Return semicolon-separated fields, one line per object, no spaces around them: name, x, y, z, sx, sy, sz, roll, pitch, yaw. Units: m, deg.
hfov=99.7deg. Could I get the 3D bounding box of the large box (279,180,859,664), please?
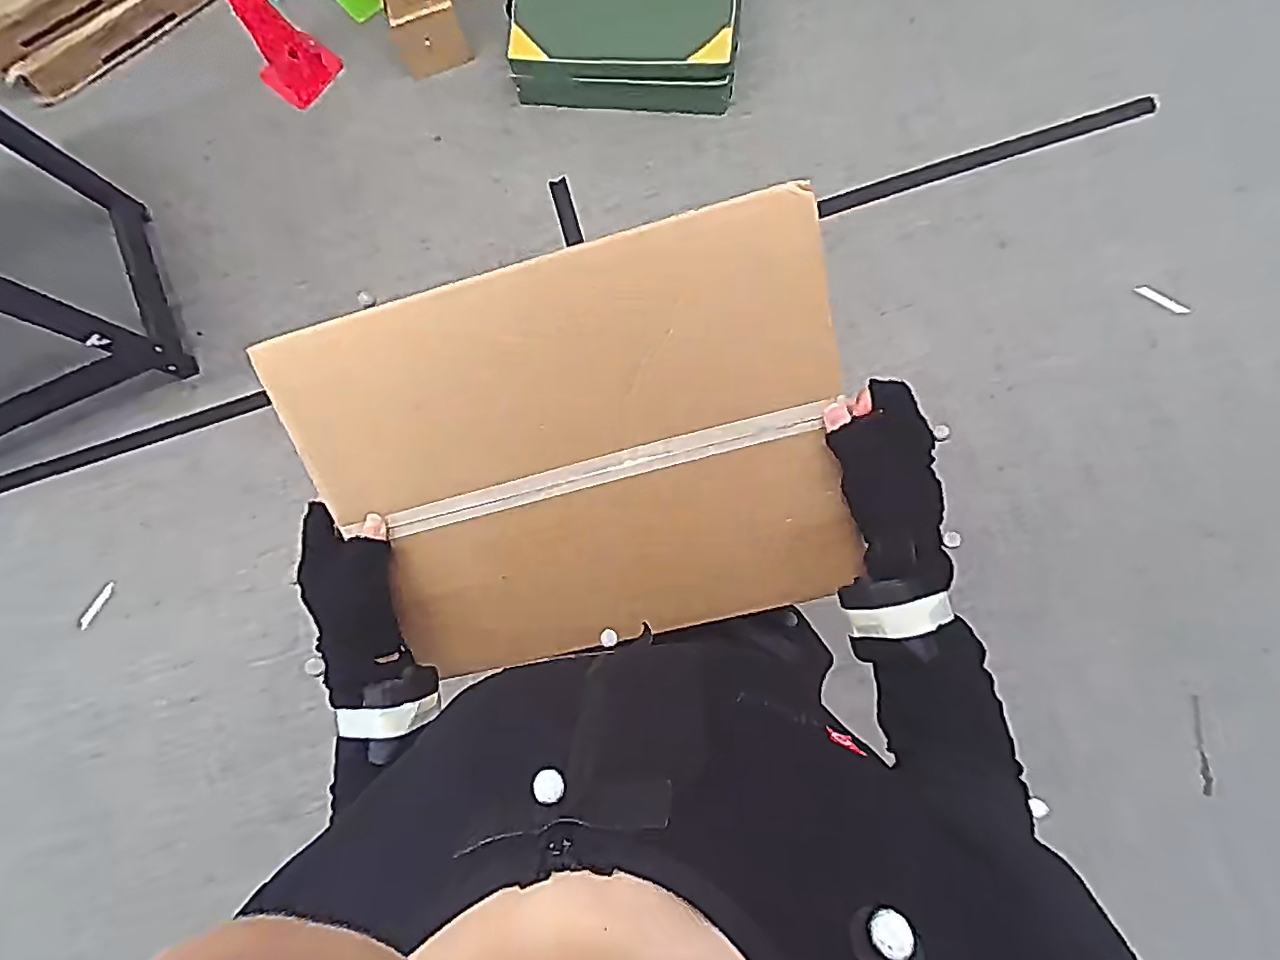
large box;-0.042;-0.065;0.570;0.408;0.320;0.320;-14;111;7
